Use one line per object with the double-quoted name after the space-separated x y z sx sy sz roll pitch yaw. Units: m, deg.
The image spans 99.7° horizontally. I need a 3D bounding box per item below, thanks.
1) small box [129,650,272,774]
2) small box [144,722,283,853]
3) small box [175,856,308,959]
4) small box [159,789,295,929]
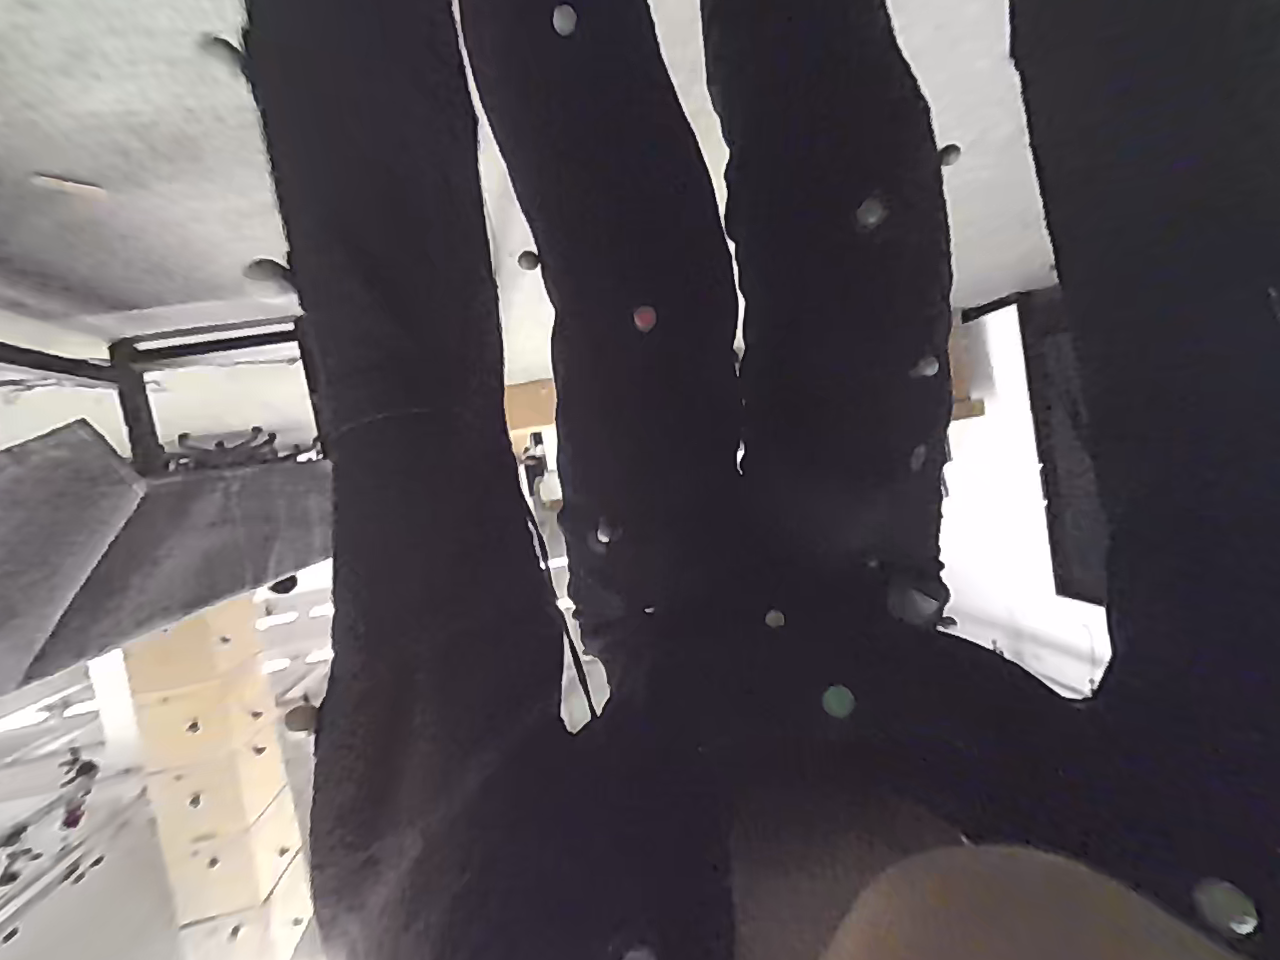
-0.939 0.488 1.163 0.168 0.176 0.179 -10 -177 -8 "small box"
-0.918 0.650 1.172 0.168 0.176 0.179 -10 -178 -10 "small box"
-0.866 0.974 1.189 0.168 0.176 0.179 -11 -177 -11 "small box"
-0.895 0.813 1.185 0.168 0.176 0.179 -10 -178 -8 "small box"
